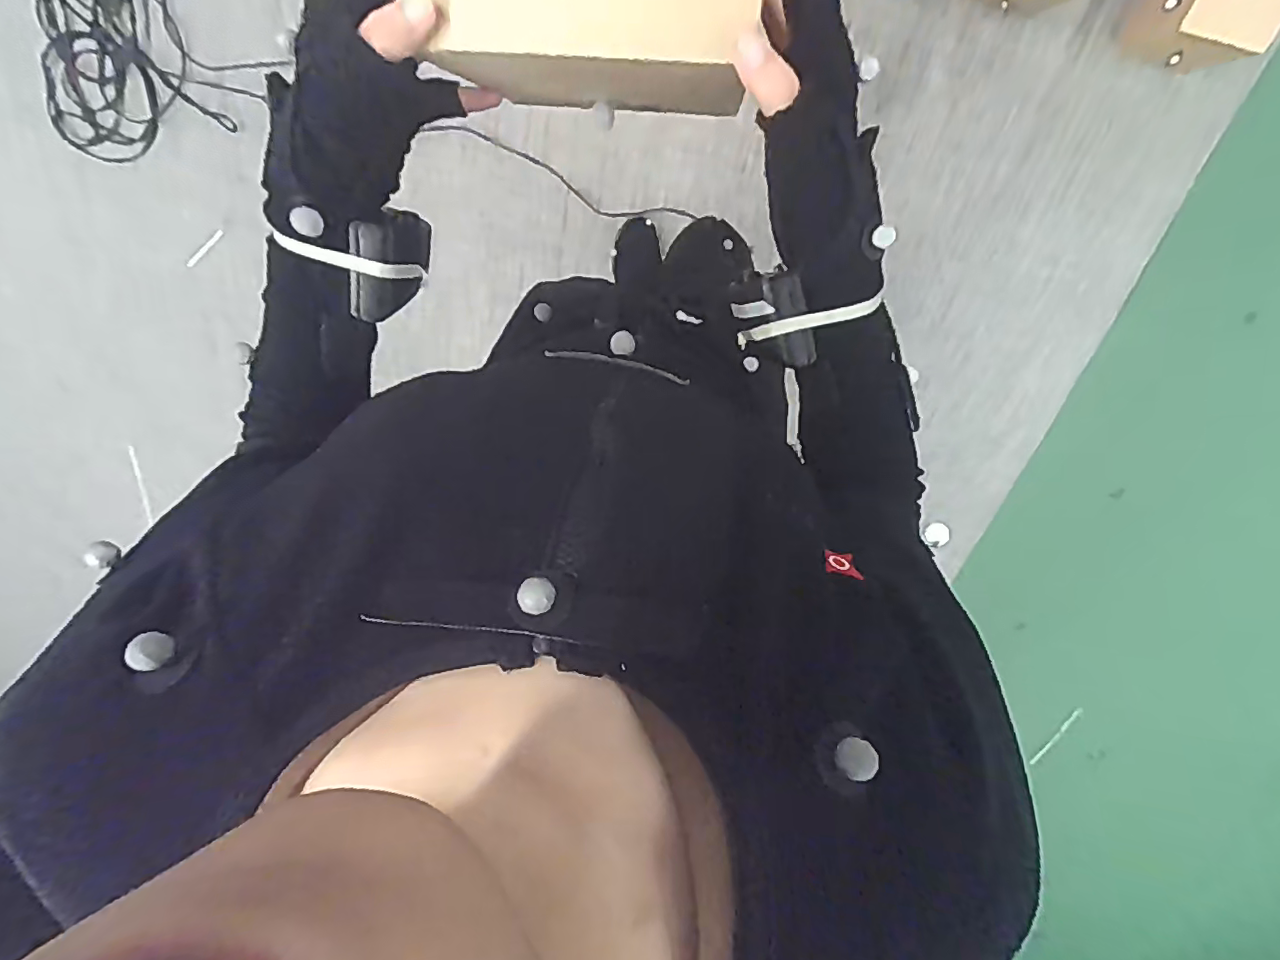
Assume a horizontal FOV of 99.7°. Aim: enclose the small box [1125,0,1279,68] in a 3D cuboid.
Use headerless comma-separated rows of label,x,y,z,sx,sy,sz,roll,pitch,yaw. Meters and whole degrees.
small box,1.035,-0.872,0.966,0.168,0.176,0.179,12,117,-4
